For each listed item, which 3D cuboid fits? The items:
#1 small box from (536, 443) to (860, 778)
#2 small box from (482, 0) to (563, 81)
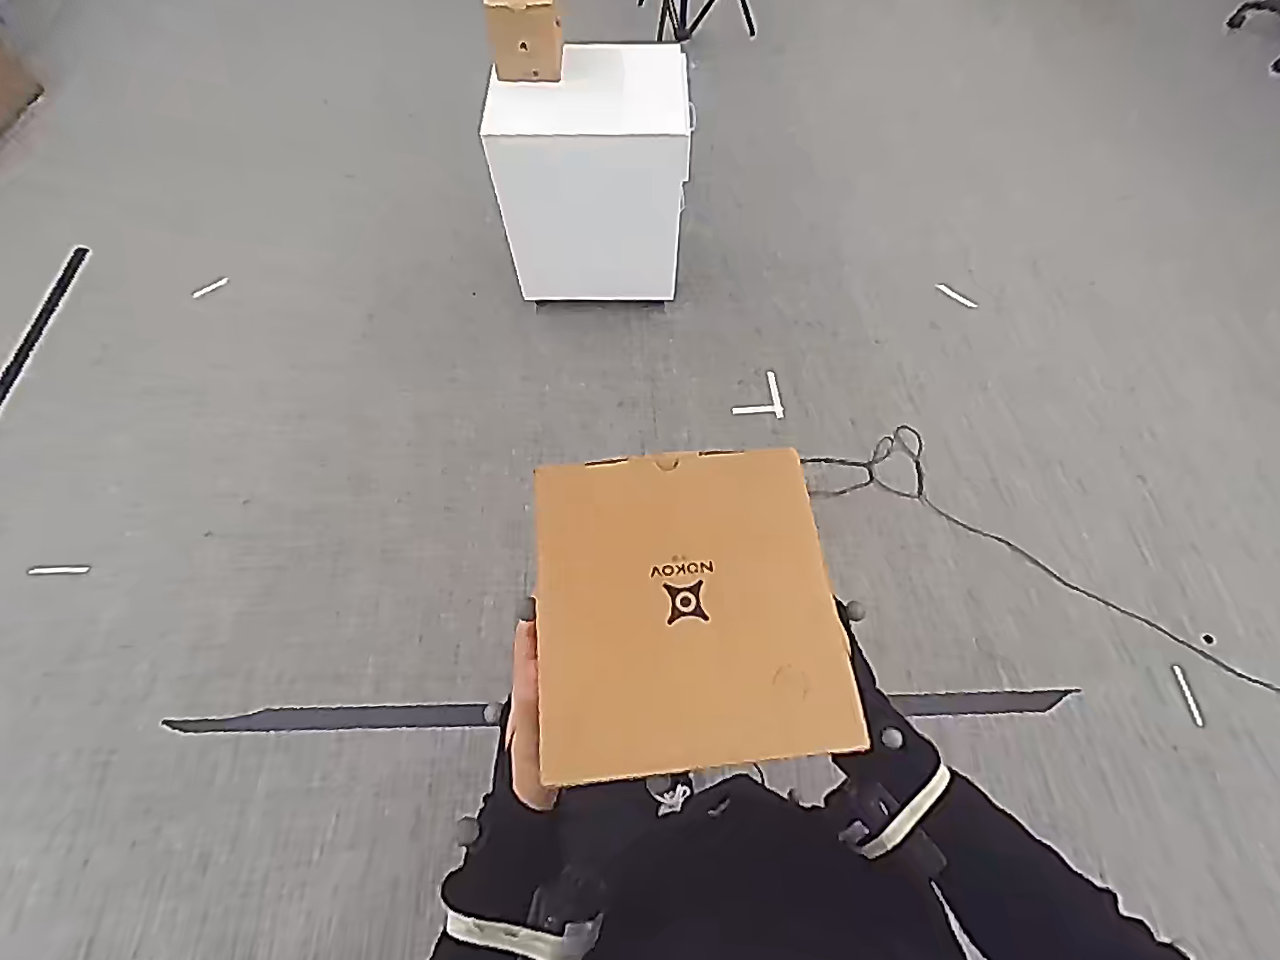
[{"bbox_3d":[0.024,0.095,0.377,0.168,0.176,0.179,-5,65,-3],"label":"small box"},{"bbox_3d":[-0.290,-1.152,1.375,0.168,0.176,0.179,0,67,-1],"label":"small box"}]
